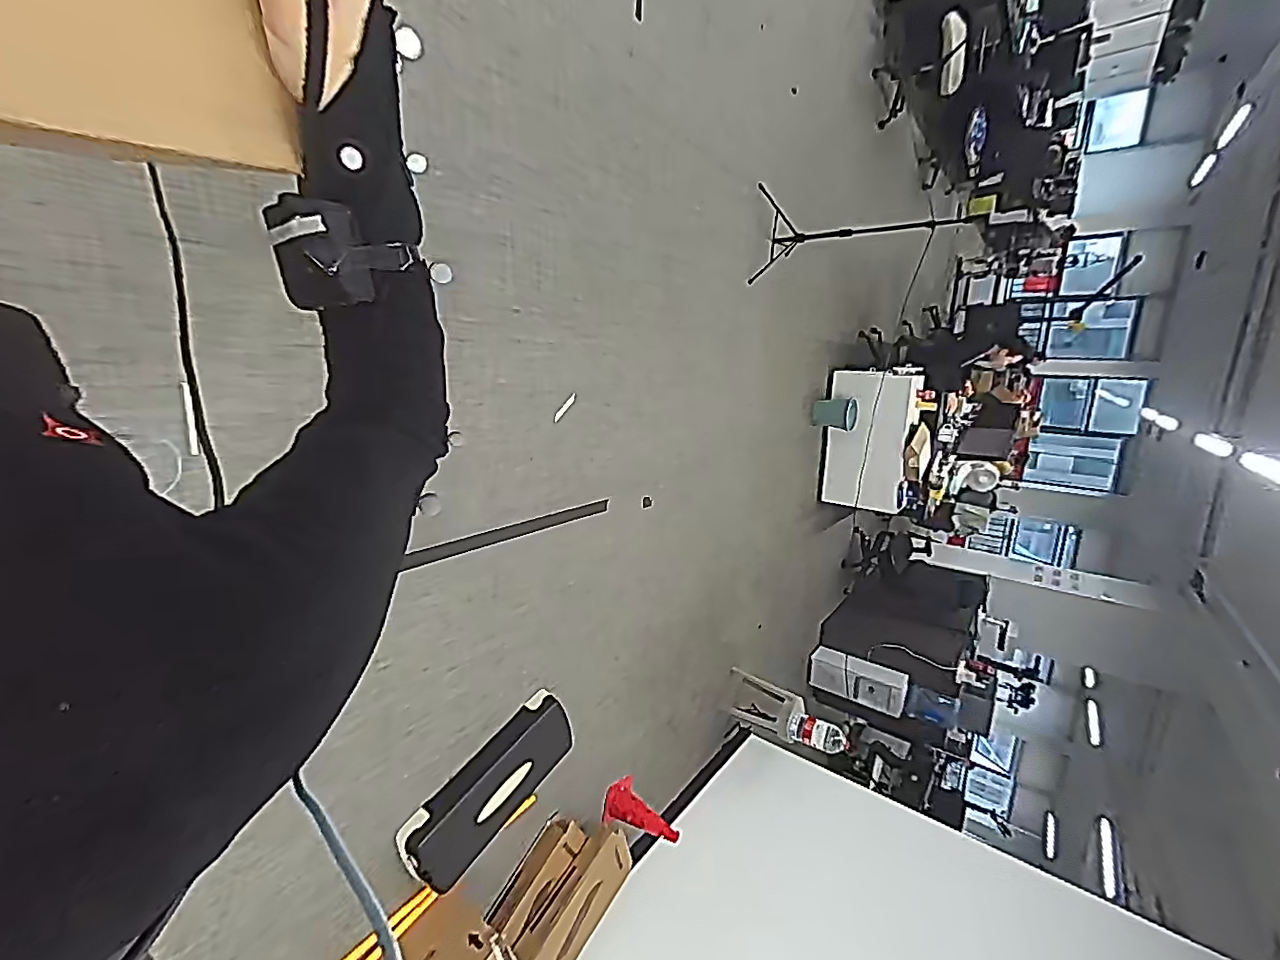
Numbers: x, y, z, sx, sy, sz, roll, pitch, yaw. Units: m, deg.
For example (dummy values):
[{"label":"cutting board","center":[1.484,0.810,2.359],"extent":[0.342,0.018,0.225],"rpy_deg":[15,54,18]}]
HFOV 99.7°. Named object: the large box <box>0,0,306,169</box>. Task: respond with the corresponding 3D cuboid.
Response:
[{"label":"large box","center":[-0.431,-0.327,0.203],"extent":[0.408,0.320,0.320],"rpy_deg":[-27,131,-53]}]
